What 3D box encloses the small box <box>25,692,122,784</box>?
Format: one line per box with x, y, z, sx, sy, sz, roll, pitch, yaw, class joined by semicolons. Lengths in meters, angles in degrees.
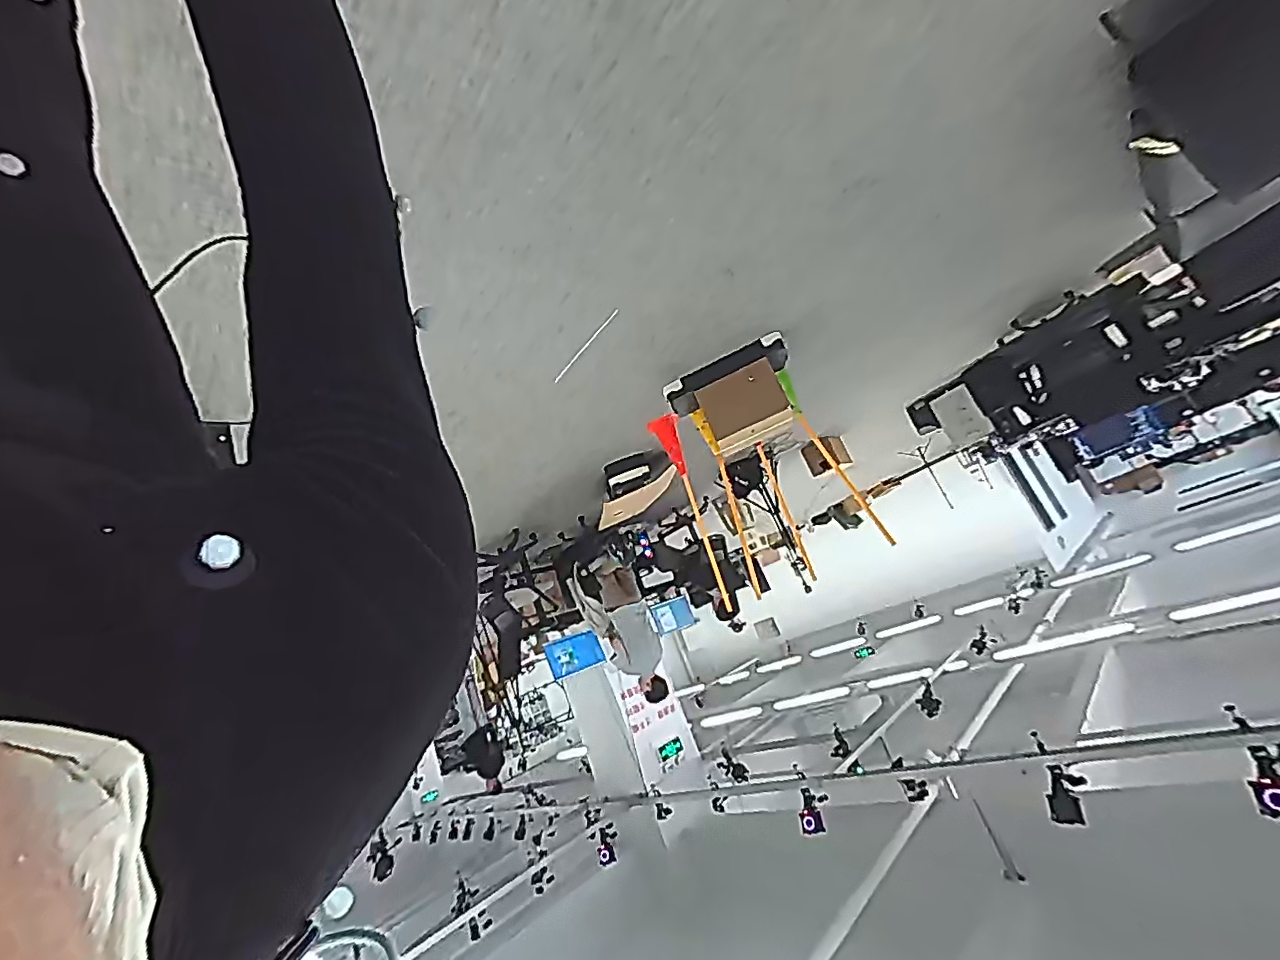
-1.607;0.725;1.532;0.168;0.176;0.179;-33;161;33;small box
